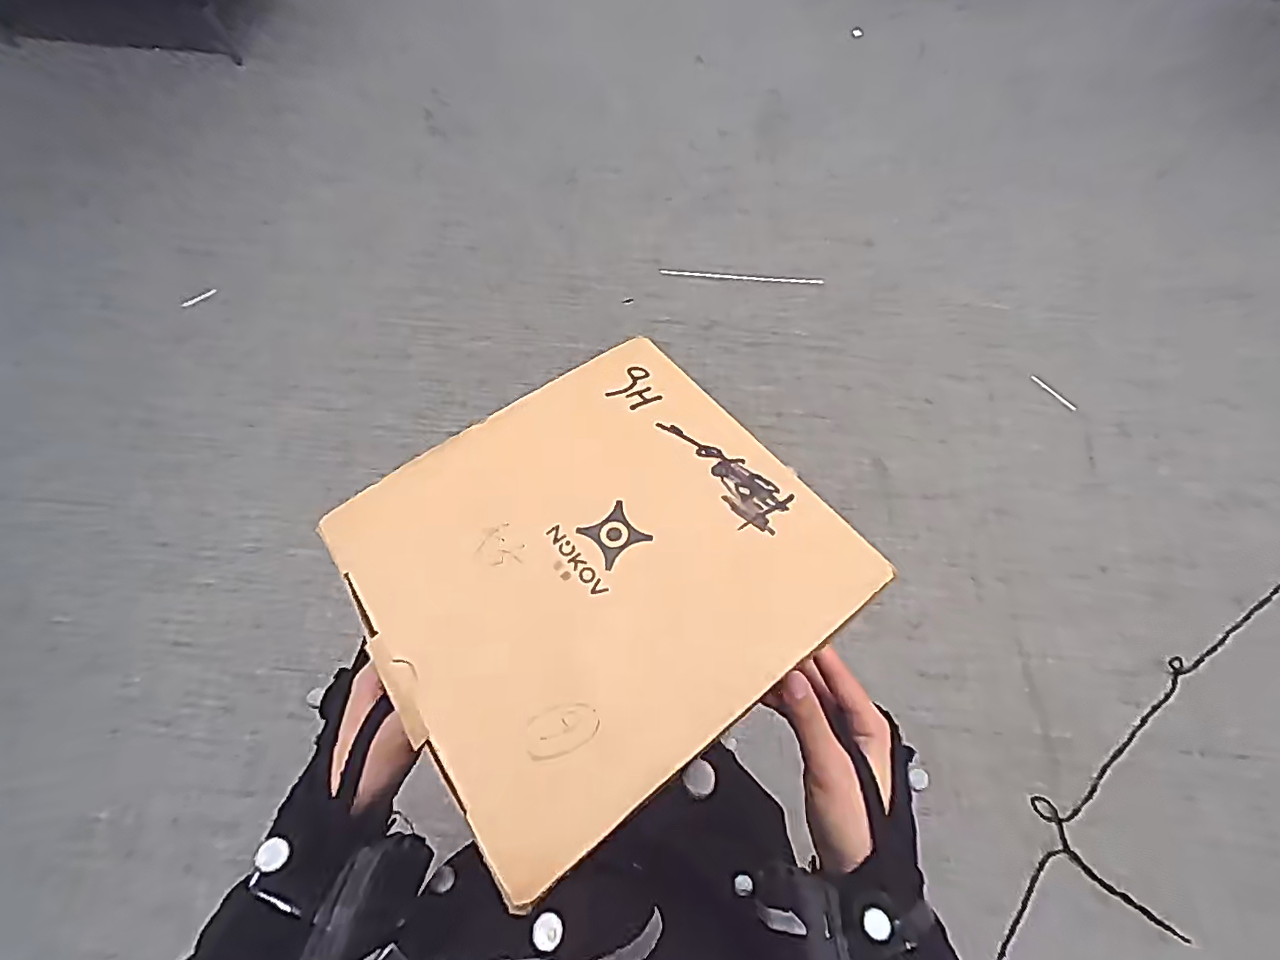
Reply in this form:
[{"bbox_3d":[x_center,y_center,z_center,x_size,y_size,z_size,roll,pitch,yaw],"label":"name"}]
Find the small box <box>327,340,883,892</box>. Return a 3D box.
[{"bbox_3d":[-0.015,0.068,0.289,0.179,0.176,0.168,-34,64,-17],"label":"small box"}]
